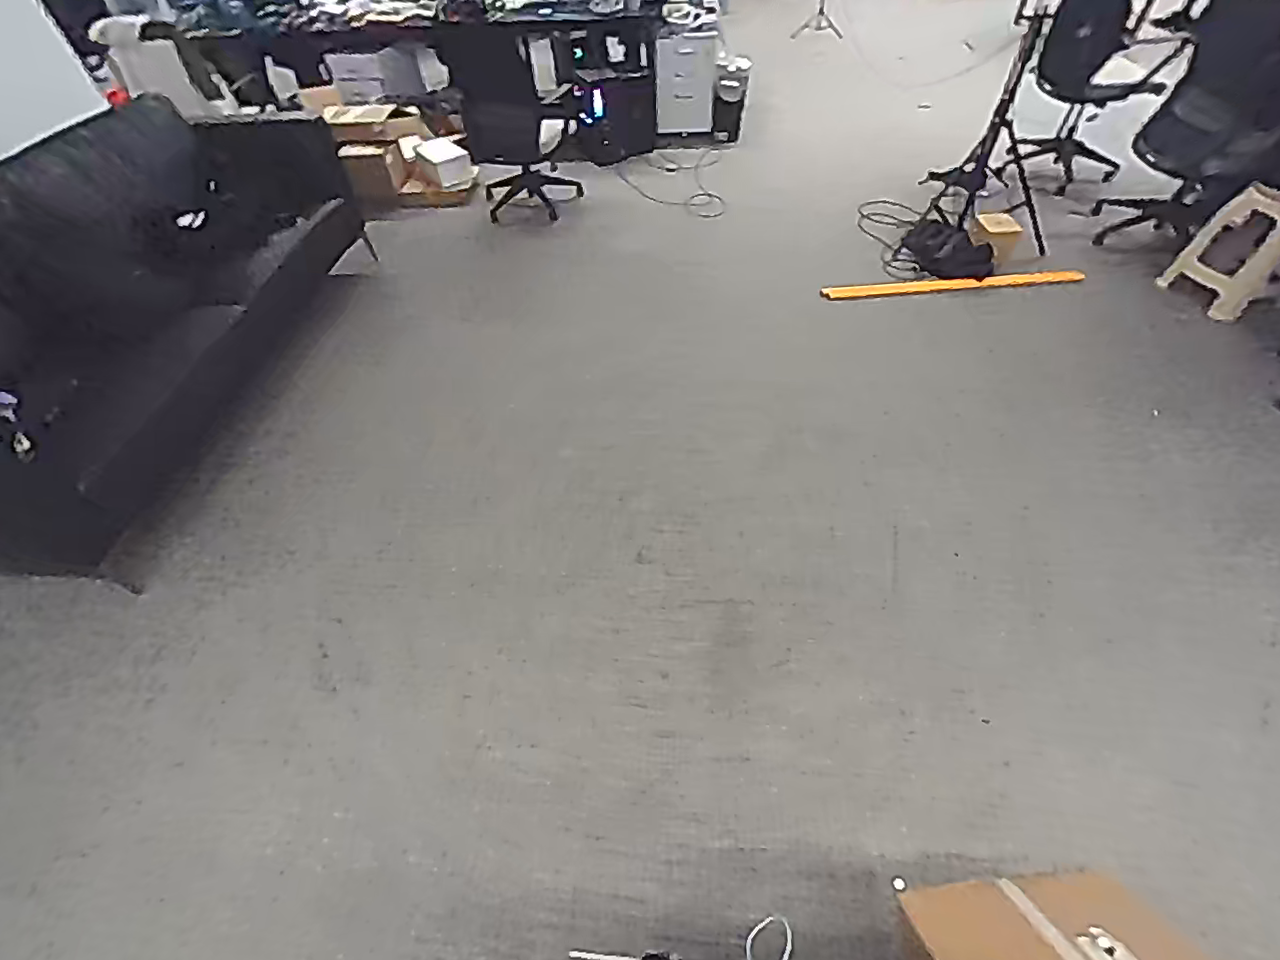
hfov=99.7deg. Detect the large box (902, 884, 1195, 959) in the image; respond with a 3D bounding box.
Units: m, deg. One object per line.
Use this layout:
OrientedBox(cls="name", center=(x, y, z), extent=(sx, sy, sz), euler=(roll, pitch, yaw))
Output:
OrientedBox(cls="large box", center=(0.555, 0.758, 0.596), extent=(0.320, 0.408, 0.320), euler=(-7, 88, 1))
